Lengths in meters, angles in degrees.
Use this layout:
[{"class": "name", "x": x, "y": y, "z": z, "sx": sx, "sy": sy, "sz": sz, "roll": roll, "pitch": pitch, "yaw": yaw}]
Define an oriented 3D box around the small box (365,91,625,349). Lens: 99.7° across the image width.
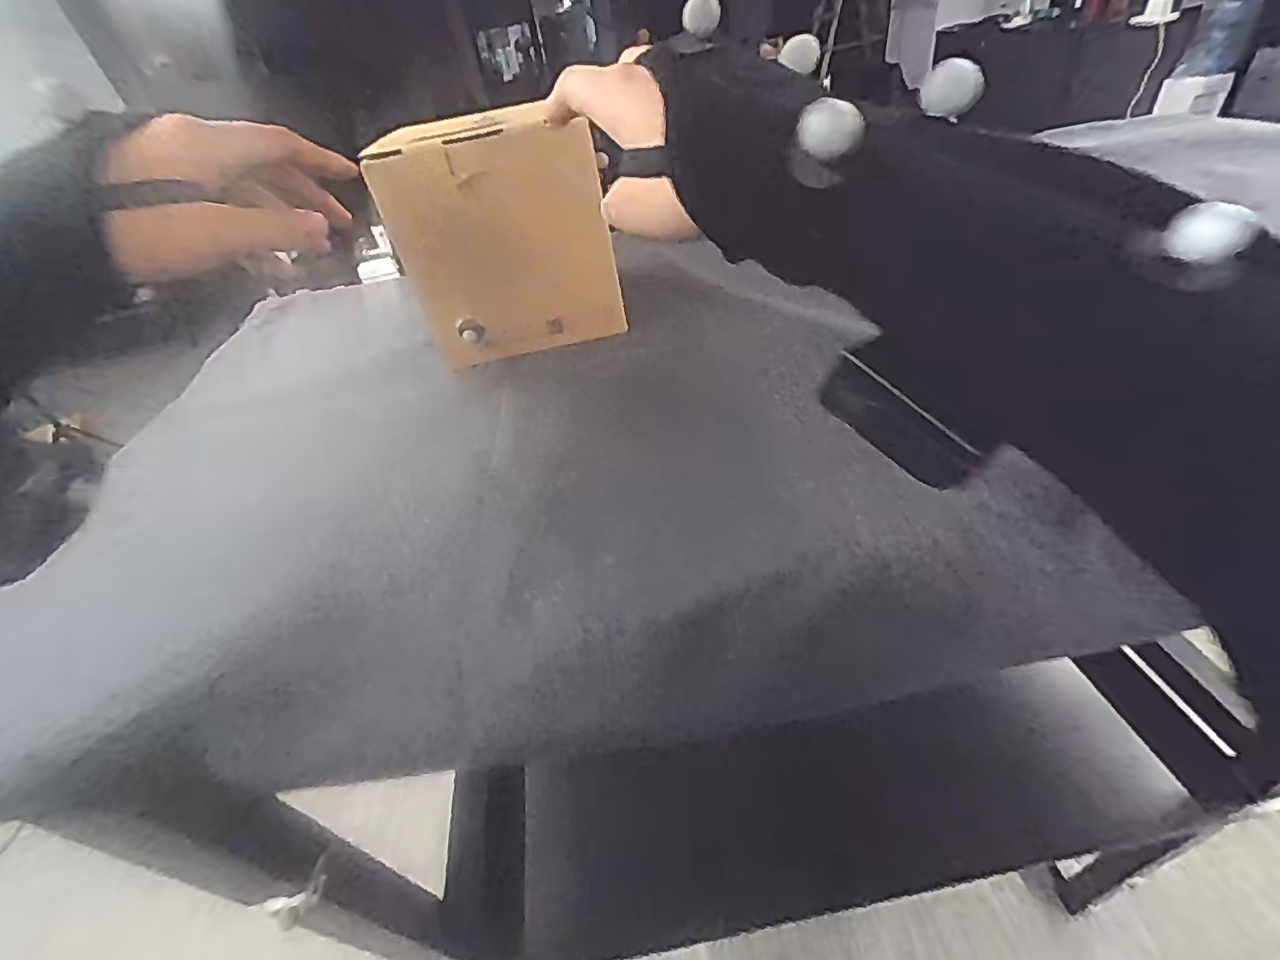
[{"class": "small box", "x": -0.114, "y": -0.232, "z": 0.494, "sx": 0.168, "sy": 0.176, "sz": 0.179, "roll": -12, "pitch": 39, "yaw": -1}]
